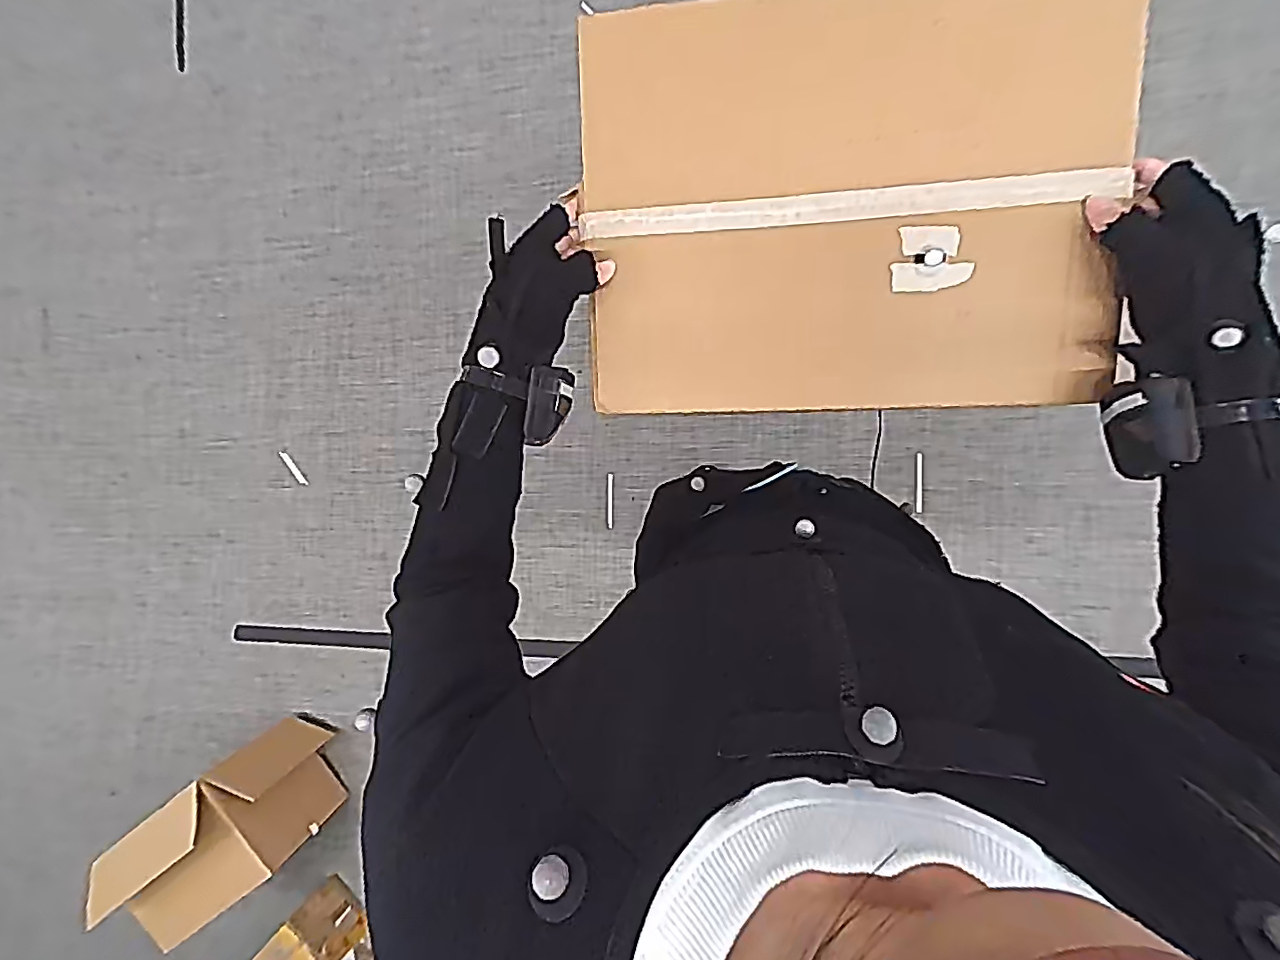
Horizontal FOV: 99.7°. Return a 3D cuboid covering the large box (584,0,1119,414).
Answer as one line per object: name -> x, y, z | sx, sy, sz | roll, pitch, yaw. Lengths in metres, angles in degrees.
large box -> 0.174, -0.238, 0.582 | 0.408, 0.320, 0.320 | 0, 99, 8
